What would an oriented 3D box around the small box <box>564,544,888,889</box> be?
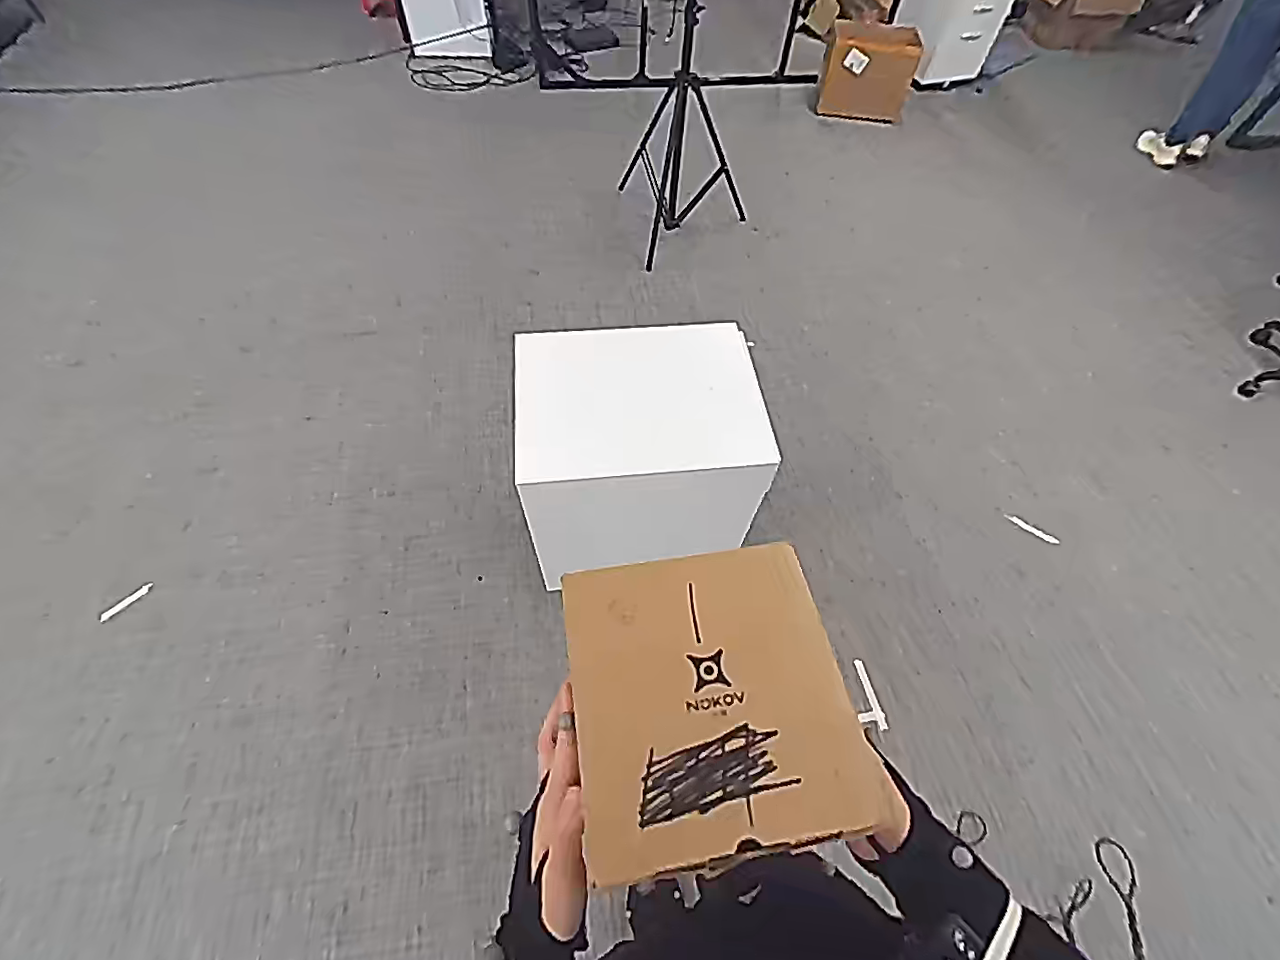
[{"bbox_3d":[0.039,0.170,0.393,0.168,0.176,0.179,-7,55,-8],"label":"small box"}]
